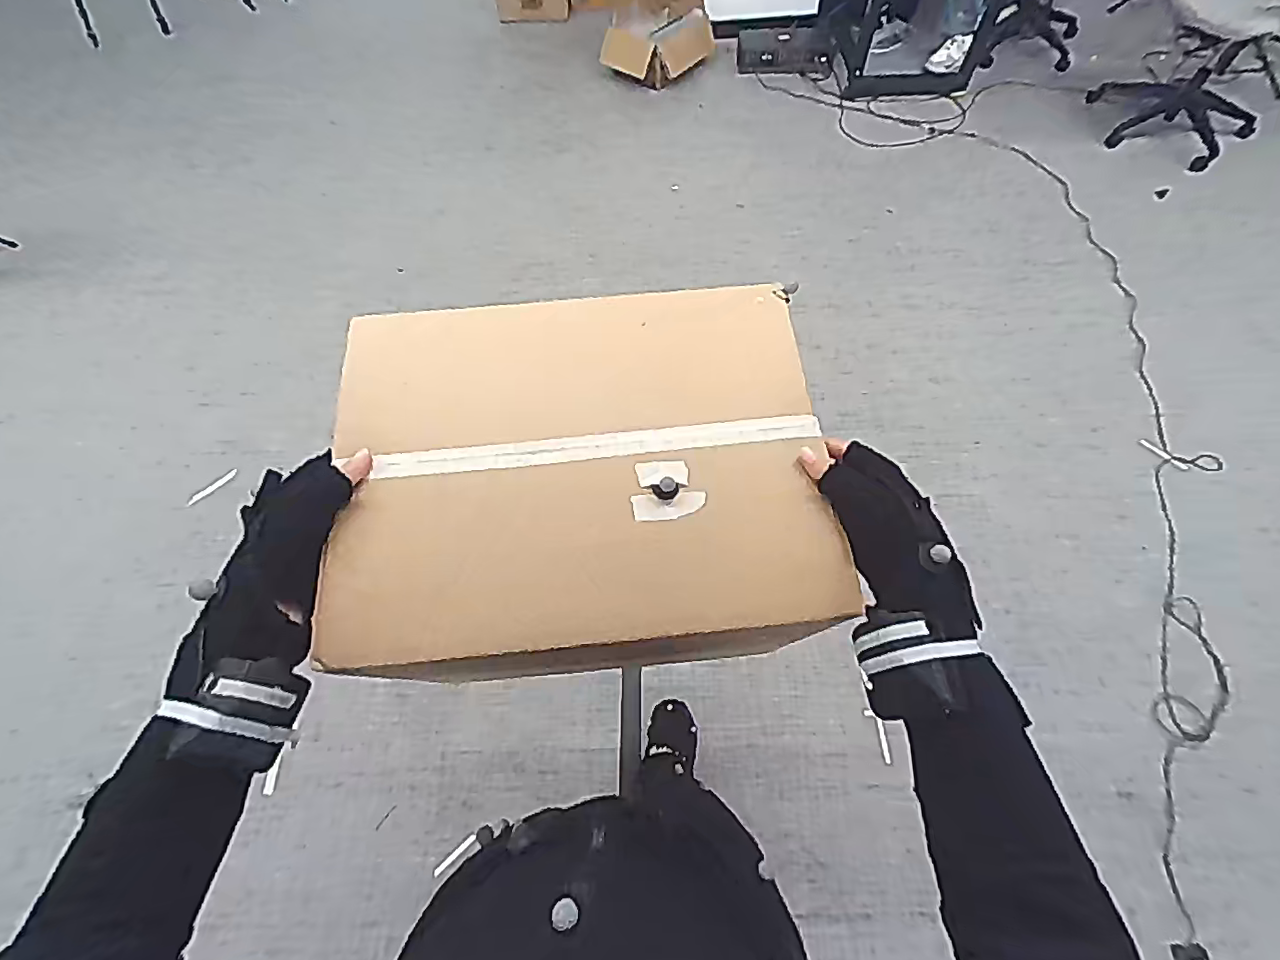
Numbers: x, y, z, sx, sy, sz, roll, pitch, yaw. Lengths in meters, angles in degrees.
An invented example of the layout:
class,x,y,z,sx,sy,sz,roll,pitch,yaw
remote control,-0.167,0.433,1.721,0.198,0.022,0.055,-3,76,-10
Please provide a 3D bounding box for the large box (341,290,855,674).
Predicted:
class,x,y,z,sx,sy,sz,roll,pitch,yaw
large box,-0.046,0.027,0.604,0.408,0.320,0.320,-5,69,-3
